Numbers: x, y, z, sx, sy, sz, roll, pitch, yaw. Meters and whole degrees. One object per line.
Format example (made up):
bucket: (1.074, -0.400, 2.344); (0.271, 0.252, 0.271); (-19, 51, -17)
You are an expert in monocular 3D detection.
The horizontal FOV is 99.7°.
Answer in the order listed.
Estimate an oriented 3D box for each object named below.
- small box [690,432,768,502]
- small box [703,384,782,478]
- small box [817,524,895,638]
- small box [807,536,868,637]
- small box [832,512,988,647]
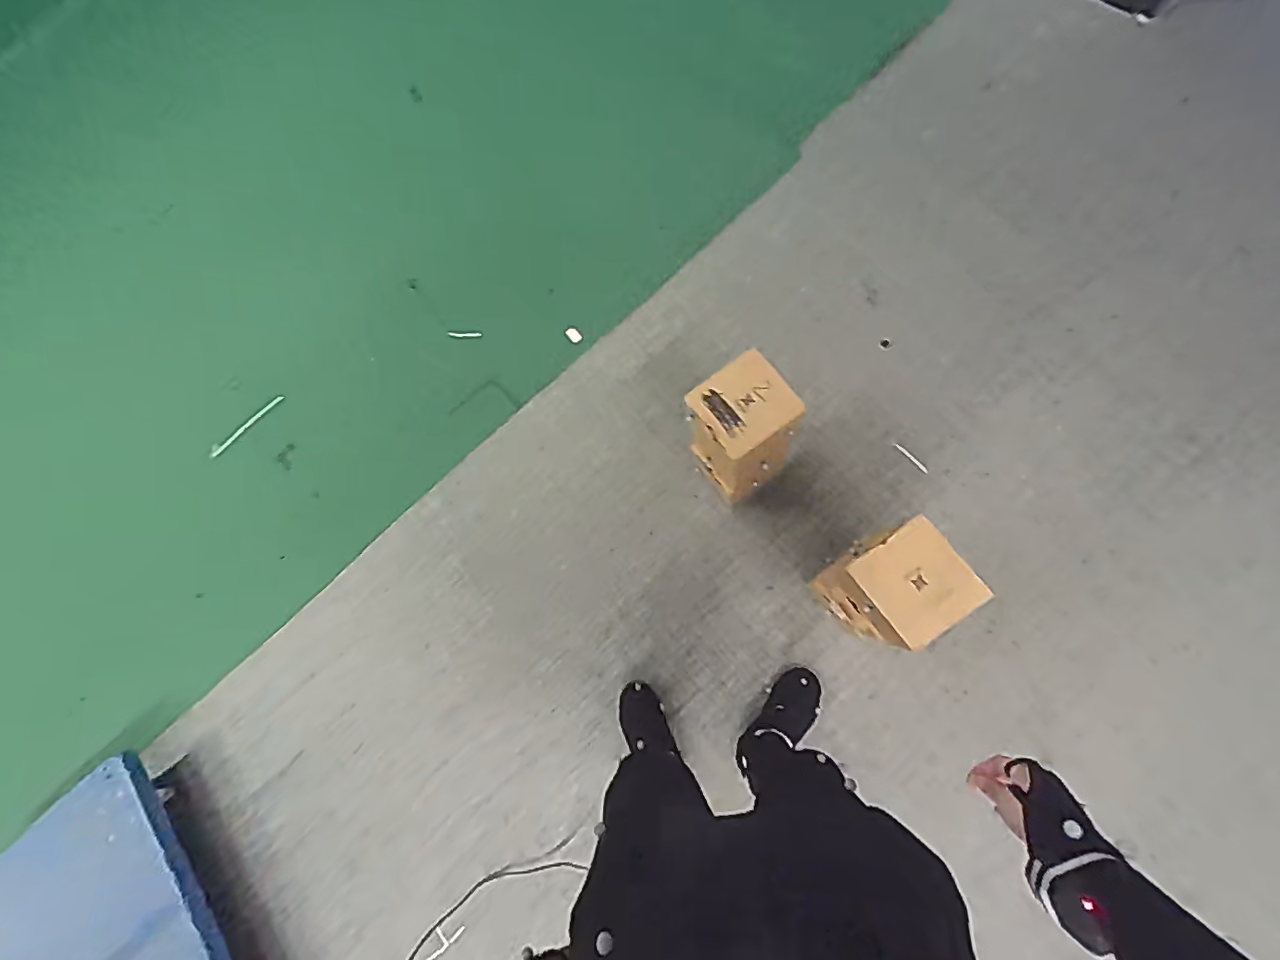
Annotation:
small box: (0.256, -0.062, 1.439); (0.179, 0.176, 0.168); (-36, 74, 0)
small box: (0.243, -0.109, 1.291); (0.168, 0.176, 0.179); (-6, 76, 11)
small box: (0.505, 0.217, 1.158); (0.179, 0.176, 0.168); (-35, 73, 1)
small box: (0.526, 0.260, 1.316); (0.179, 0.176, 0.168); (-39, 74, 1)
small box: (0.480, 0.186, 0.999); (0.168, 0.176, 0.179); (-35, 74, 2)
